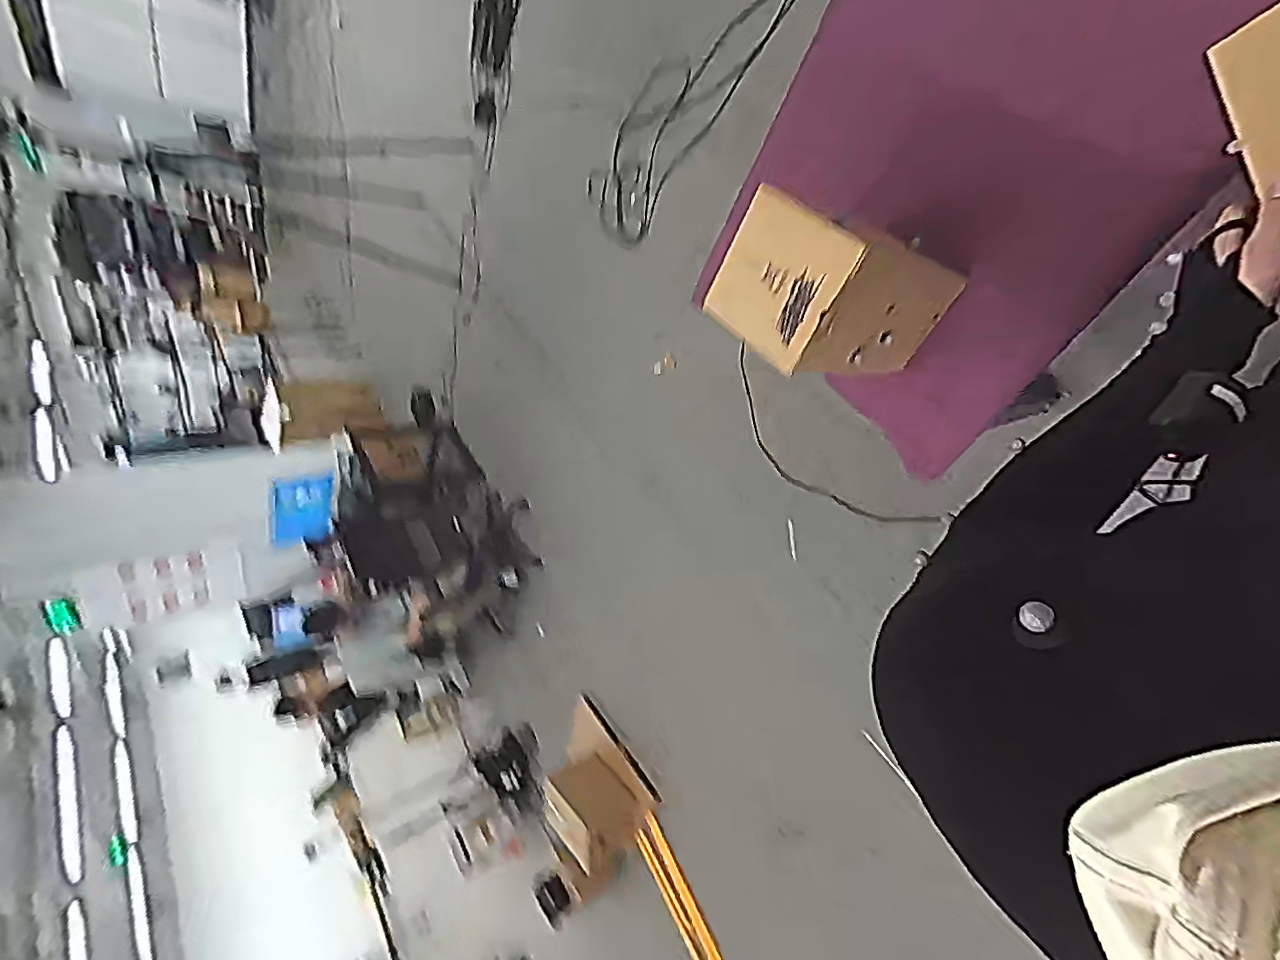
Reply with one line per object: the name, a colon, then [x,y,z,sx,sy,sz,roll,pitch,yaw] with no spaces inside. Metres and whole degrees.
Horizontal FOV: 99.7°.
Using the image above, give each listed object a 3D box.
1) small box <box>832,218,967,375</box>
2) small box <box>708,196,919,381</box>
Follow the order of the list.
small box: [0.355,-0.276,0.838,0.179,0.176,0.168,50,132,30]
small box: [0.232,-0.253,0.730,0.179,0.176,0.168,50,131,30]
